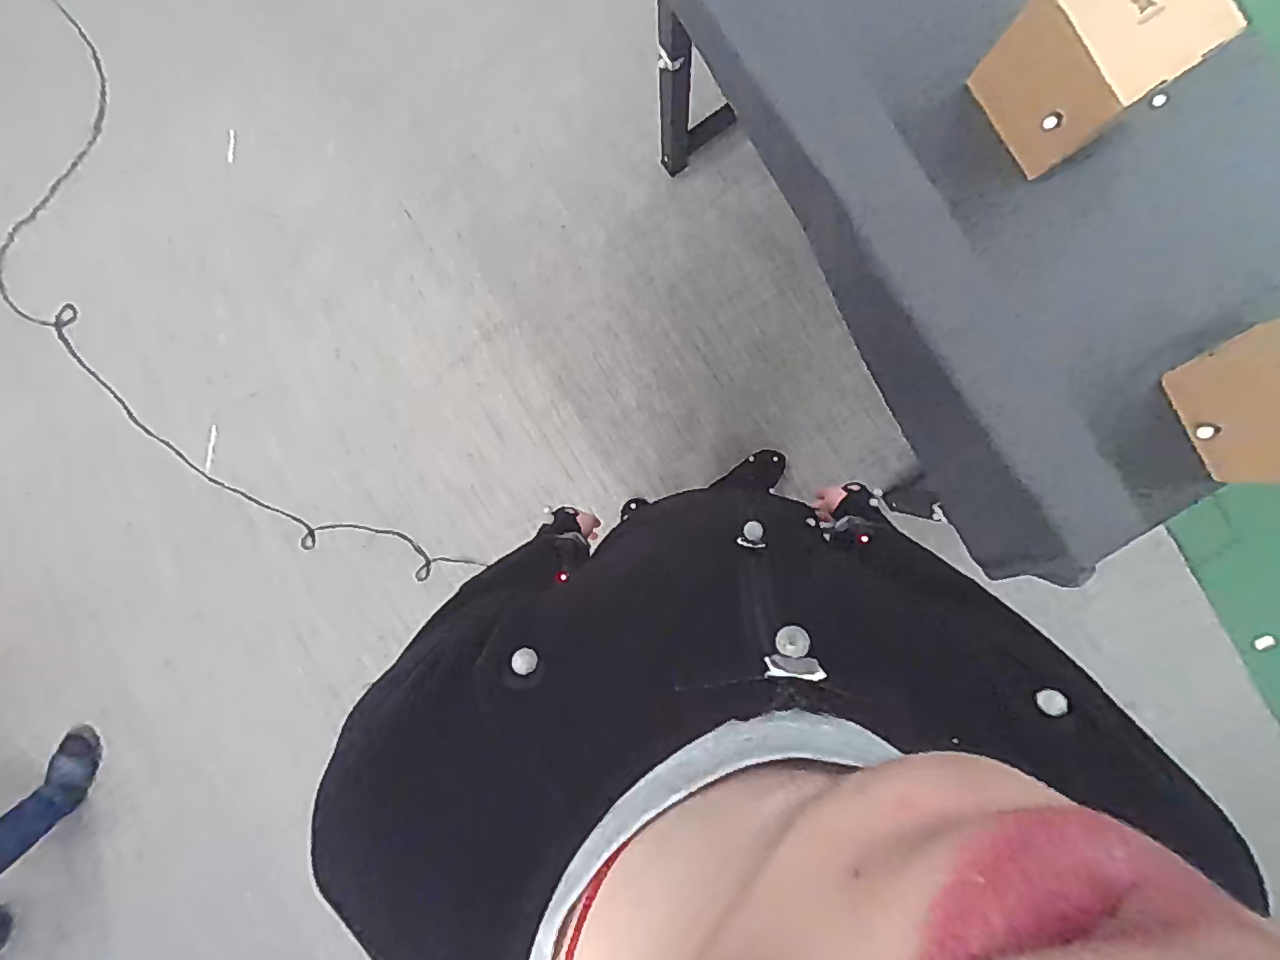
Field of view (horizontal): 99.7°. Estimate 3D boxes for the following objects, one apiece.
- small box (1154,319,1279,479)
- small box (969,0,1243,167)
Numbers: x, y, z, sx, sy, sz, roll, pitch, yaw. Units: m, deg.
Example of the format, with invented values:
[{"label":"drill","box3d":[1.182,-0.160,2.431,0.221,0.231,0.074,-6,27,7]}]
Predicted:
[{"label":"small box","box3d":[0.863,-0.113,0.719,0.168,0.176,0.179,-29,92,3]},{"label":"small box","box3d":[0.584,-0.549,0.704,0.168,0.176,0.179,-34,91,2]}]
